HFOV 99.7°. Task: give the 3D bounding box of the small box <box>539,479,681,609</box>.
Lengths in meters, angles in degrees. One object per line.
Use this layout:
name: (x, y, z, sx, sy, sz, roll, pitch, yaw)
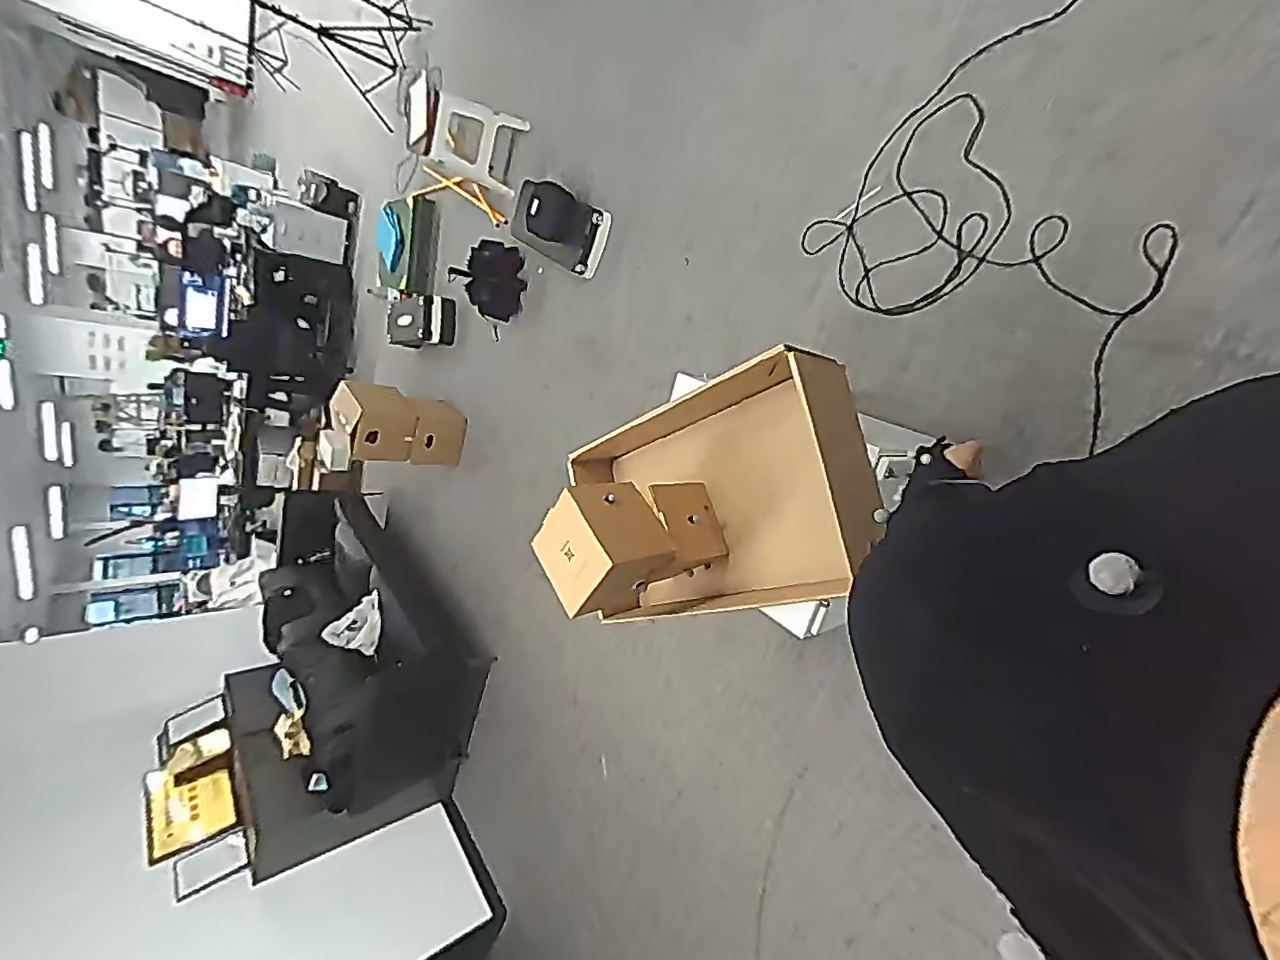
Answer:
small box: (-0.057, 0.113, 1.021, 0.179, 0.176, 0.168, 54, 128, 27)
